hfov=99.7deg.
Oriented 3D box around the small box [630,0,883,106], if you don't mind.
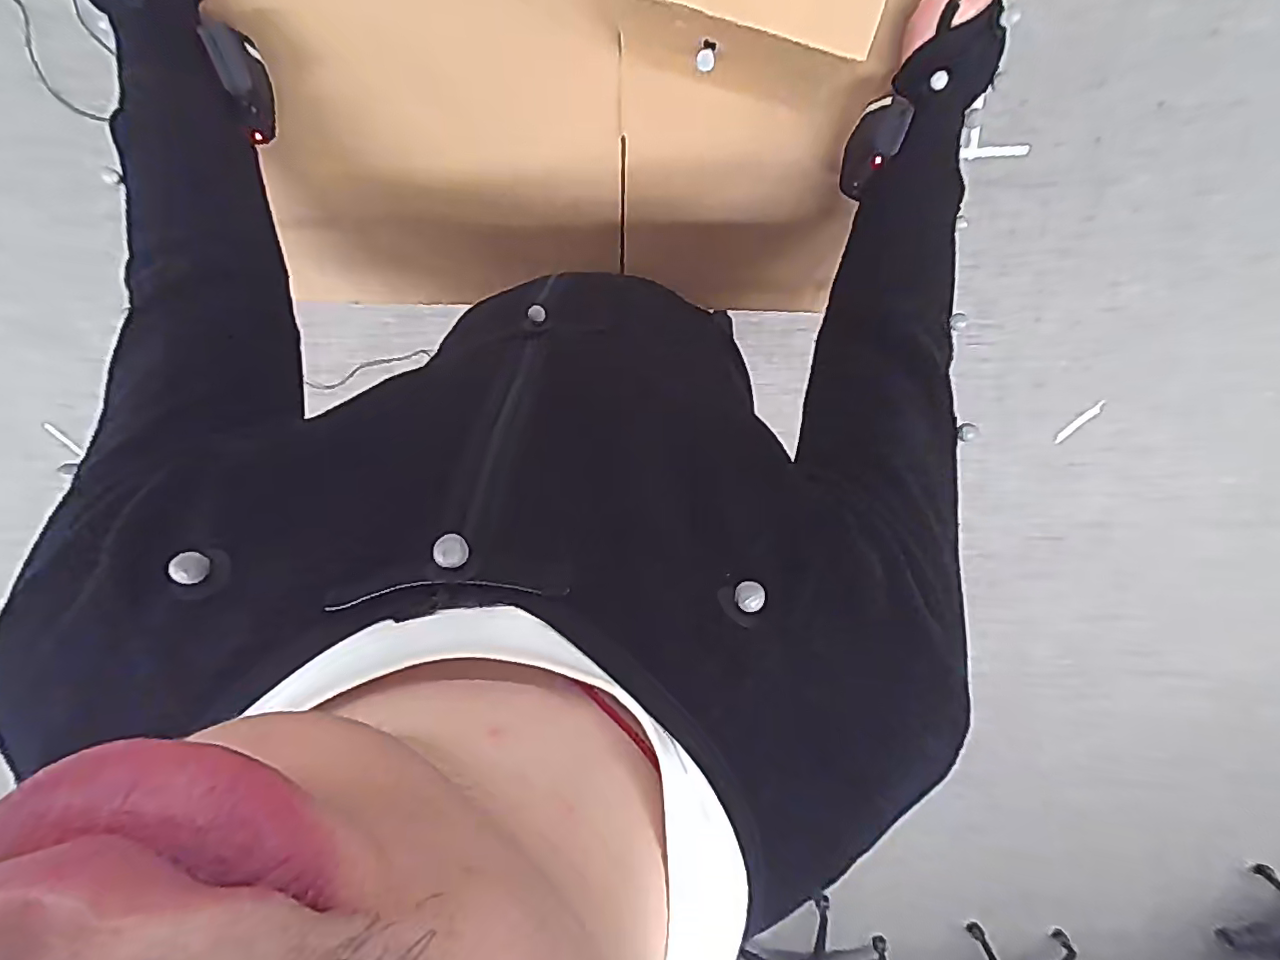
[{"bbox_3d":[0.091,-0.404,0.398,0.179,0.176,0.168,14,115,-3],"label":"small box"}]
